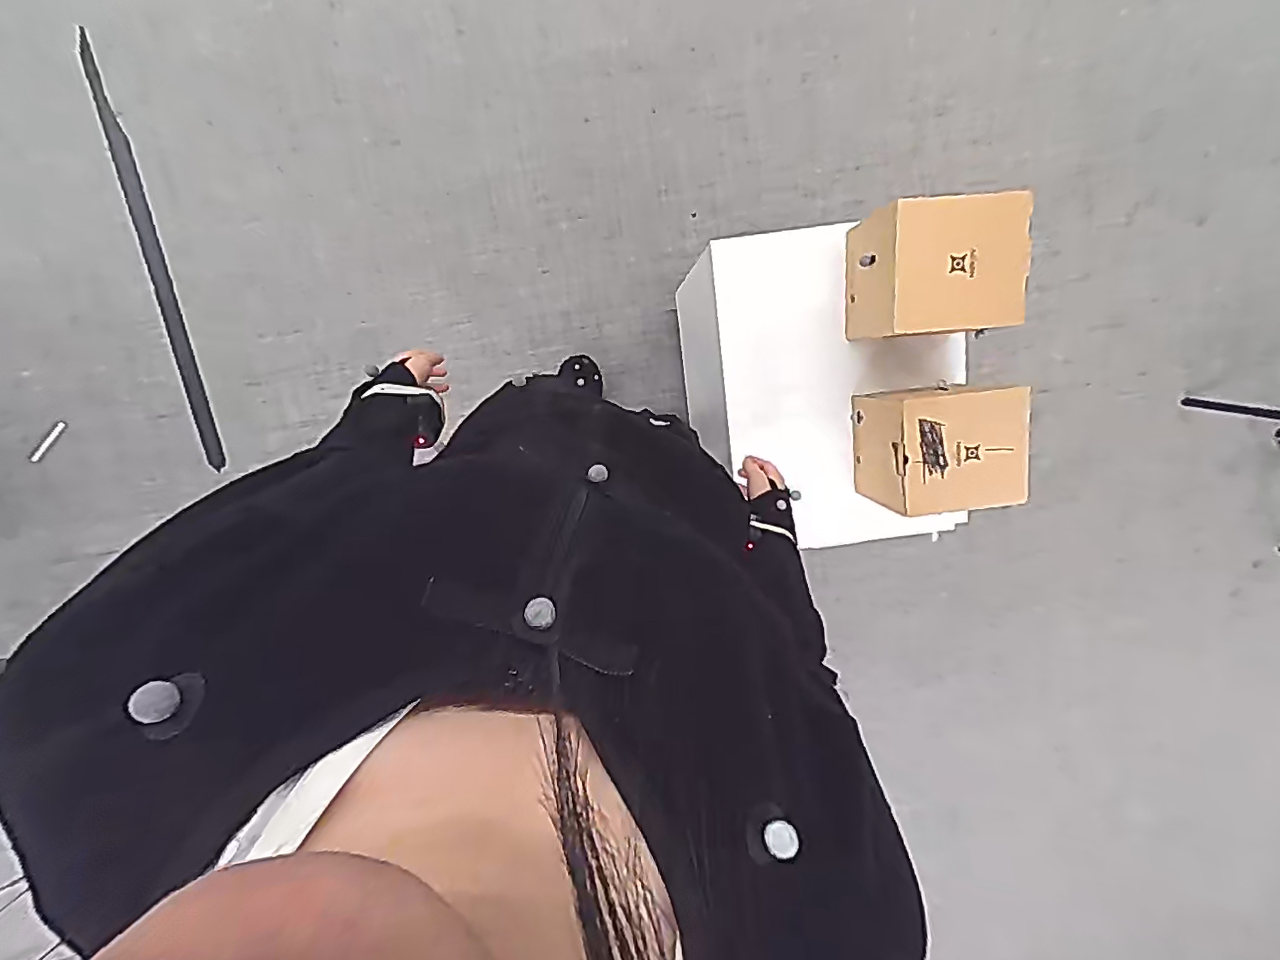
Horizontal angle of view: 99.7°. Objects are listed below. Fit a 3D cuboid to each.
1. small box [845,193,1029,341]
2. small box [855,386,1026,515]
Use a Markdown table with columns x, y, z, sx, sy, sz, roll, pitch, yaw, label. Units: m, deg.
| x | y | z | sx | sy | sz | roll | pitch | yaw | label |
| --- | --- | --- | --- | --- | --- | --- | --- | --- | --- |
| 0.406 | -0.291 | 0.772 | 0.179 | 0.176 | 0.168 | -4 | 102 | -1 | small box |
| 0.439 | -0.052 | 0.819 | 0.179 | 0.176 | 0.168 | -6 | 101 | -1 | small box |
